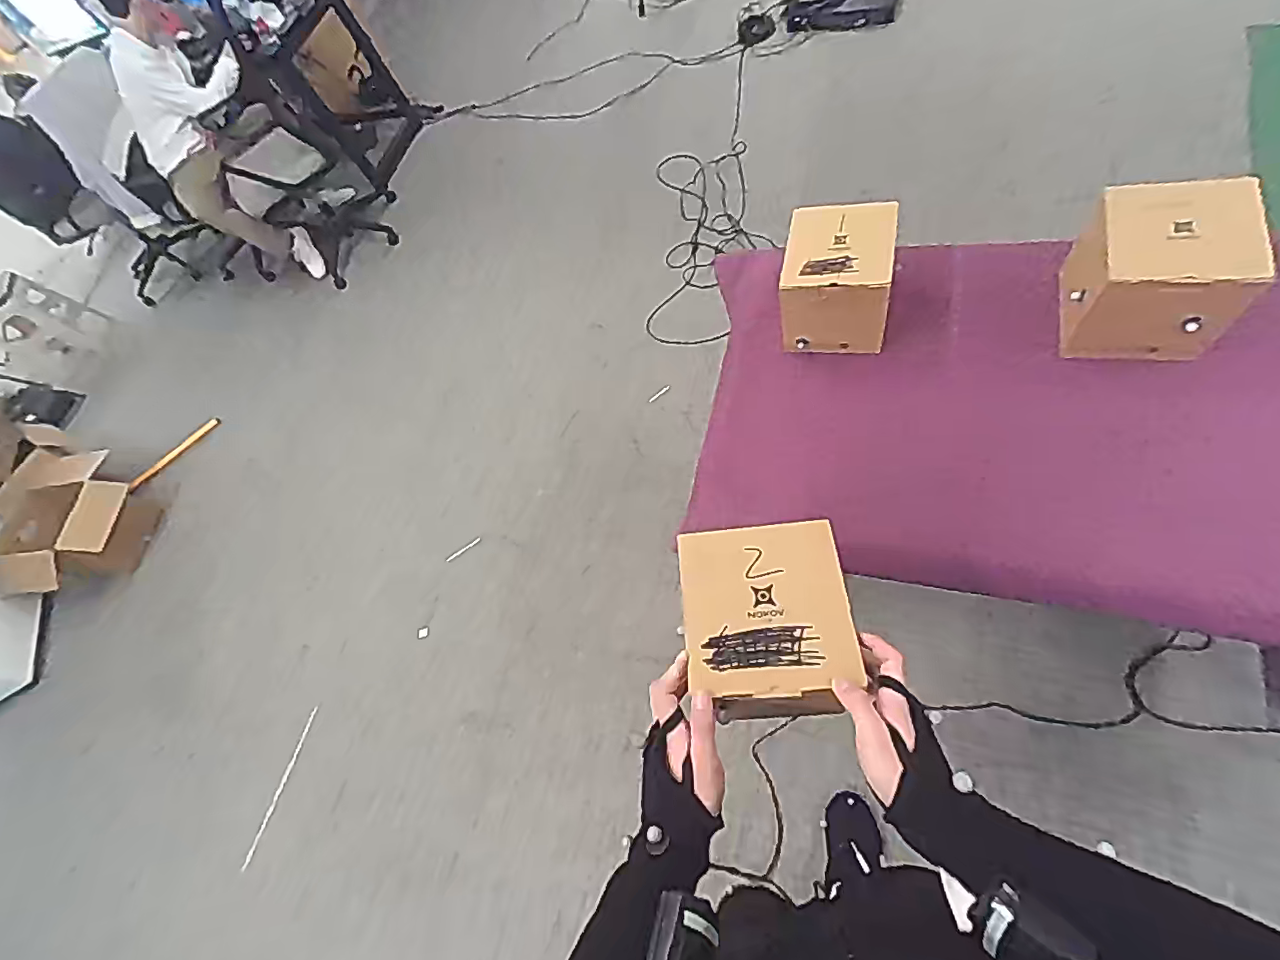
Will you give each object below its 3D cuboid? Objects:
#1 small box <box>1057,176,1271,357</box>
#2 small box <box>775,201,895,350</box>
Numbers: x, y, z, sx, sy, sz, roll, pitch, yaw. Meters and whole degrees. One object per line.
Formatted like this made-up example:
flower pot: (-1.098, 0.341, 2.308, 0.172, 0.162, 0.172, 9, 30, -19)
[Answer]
small box: (0.726, -0.294, 0.772, 0.168, 0.176, 0.179, 7, 68, 21)
small box: (0.334, -0.340, 0.927, 0.168, 0.176, 0.179, 6, 67, 21)
